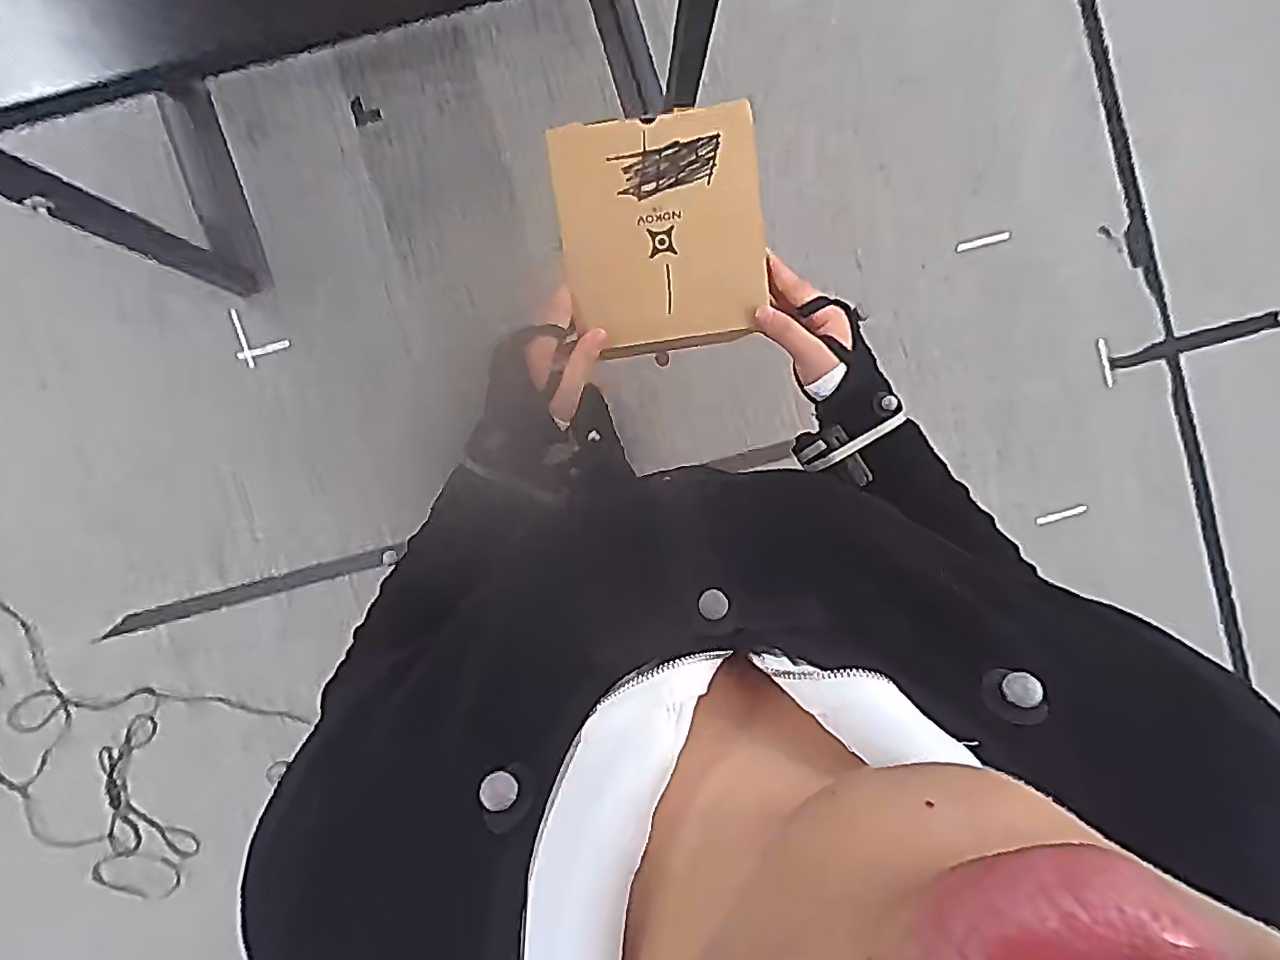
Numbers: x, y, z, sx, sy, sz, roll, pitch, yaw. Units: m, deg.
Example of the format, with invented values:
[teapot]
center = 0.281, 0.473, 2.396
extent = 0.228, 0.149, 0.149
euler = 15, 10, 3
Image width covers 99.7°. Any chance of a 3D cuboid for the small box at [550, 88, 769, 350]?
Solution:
[small box]
center = 0.016, -0.229, 0.519
extent = 0.168, 0.176, 0.179
euler = -8, 100, 1
